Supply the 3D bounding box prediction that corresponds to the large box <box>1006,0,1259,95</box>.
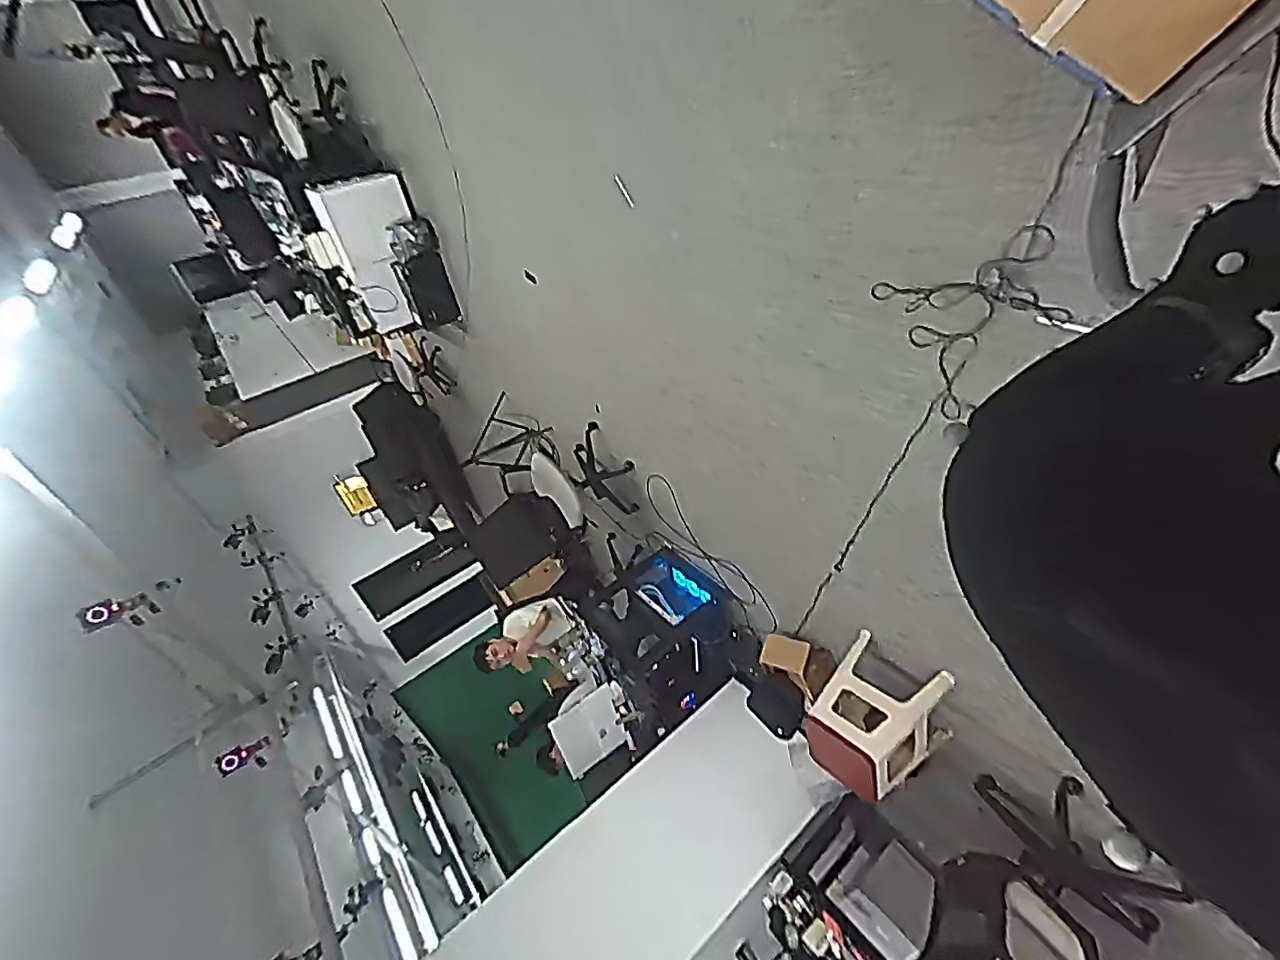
[{"bbox_3d":[0.654,-0.754,0.586,0.320,0.320,0.408,36,151,1],"label":"large box"}]
